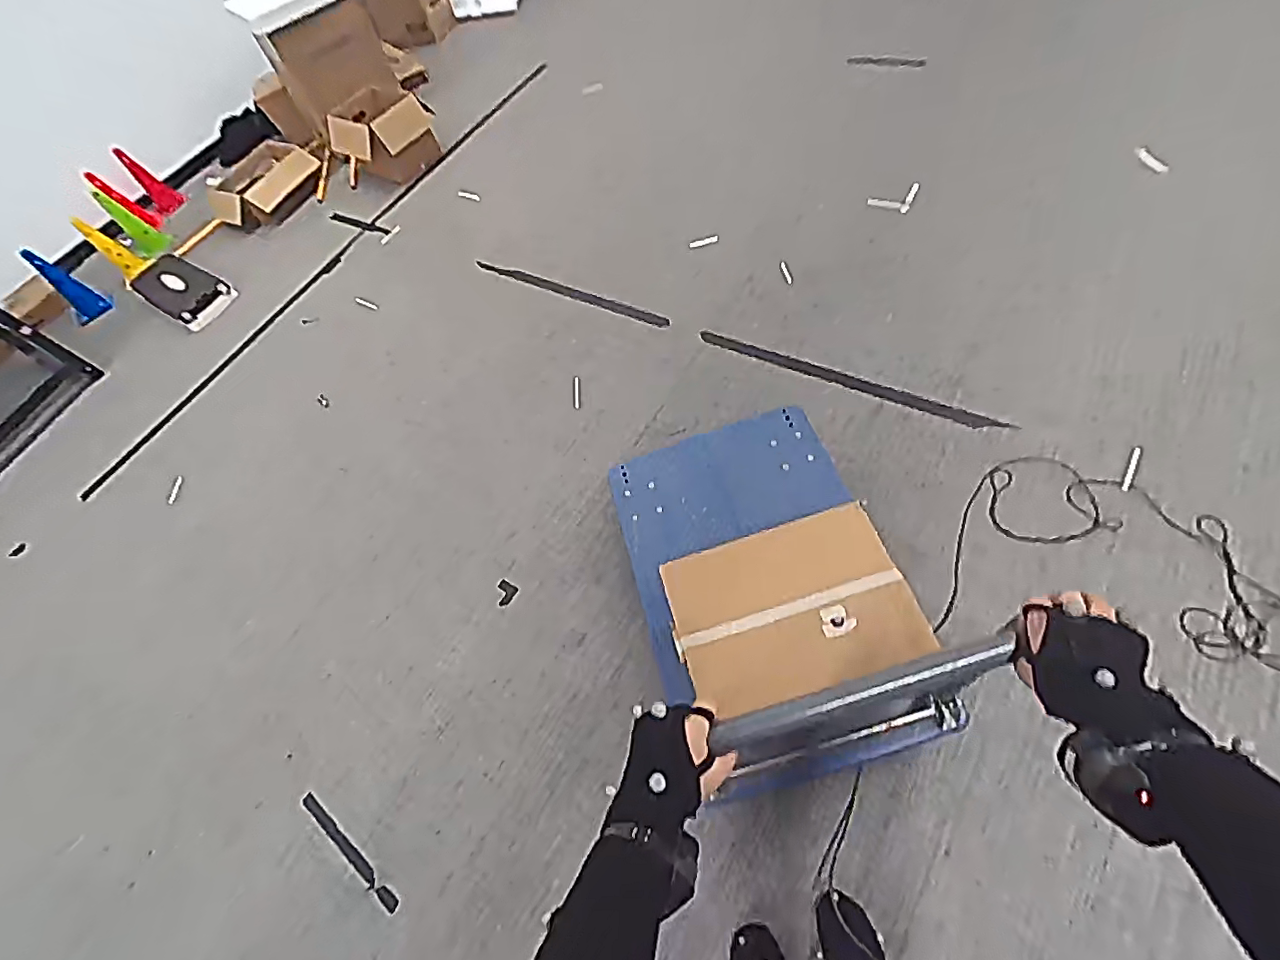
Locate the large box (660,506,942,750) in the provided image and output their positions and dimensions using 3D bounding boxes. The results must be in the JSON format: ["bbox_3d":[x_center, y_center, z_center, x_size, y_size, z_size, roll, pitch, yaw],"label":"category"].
[{"bbox_3d":[0.290,0.308,1.076,0.408,0.320,0.320,-18,59,2],"label":"large box"}]
